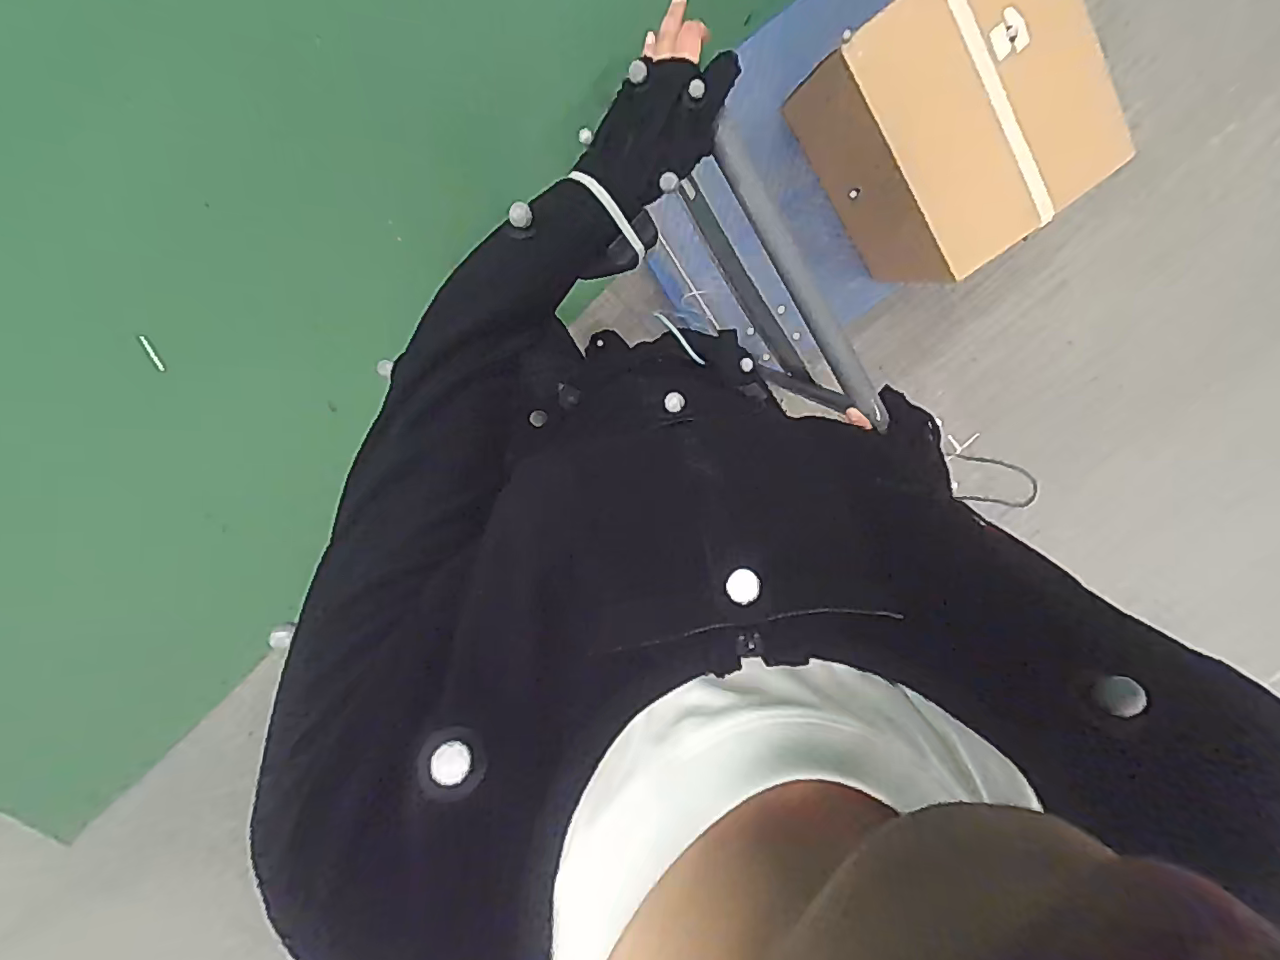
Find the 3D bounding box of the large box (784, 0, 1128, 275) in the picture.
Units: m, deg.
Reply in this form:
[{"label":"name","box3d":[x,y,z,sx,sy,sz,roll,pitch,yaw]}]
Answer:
[{"label":"large box","box3d":[0.520,-0.626,0.955,0.320,0.320,0.408,-36,107,10]}]
